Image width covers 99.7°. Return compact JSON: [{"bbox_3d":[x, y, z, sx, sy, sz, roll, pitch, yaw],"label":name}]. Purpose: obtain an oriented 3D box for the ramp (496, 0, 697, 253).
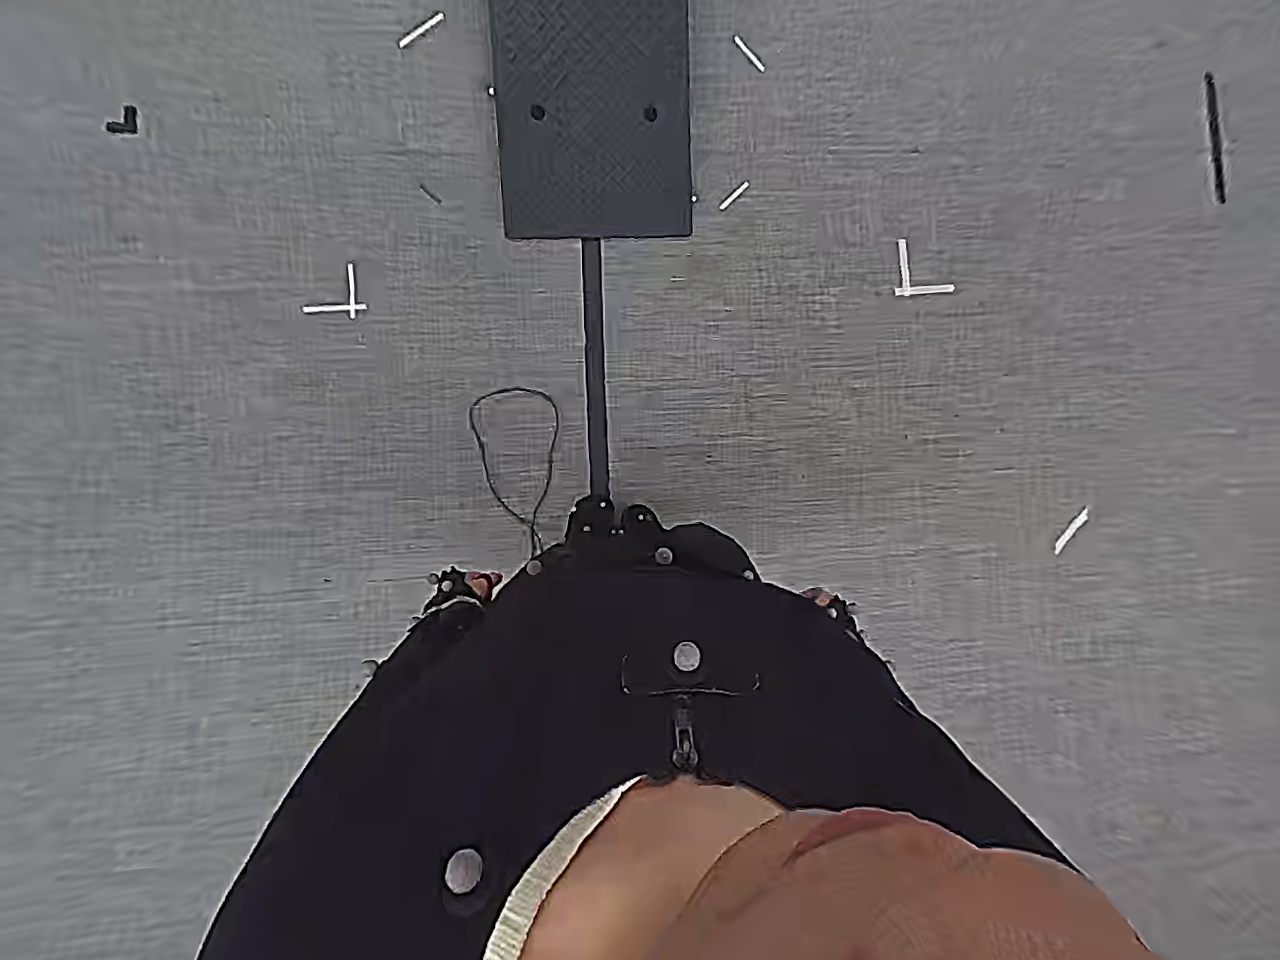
[{"bbox_3d":[-0.108,-1.101,1.361,0.509,0.206,0.991,-5,88,-6],"label":"ramp"}]
